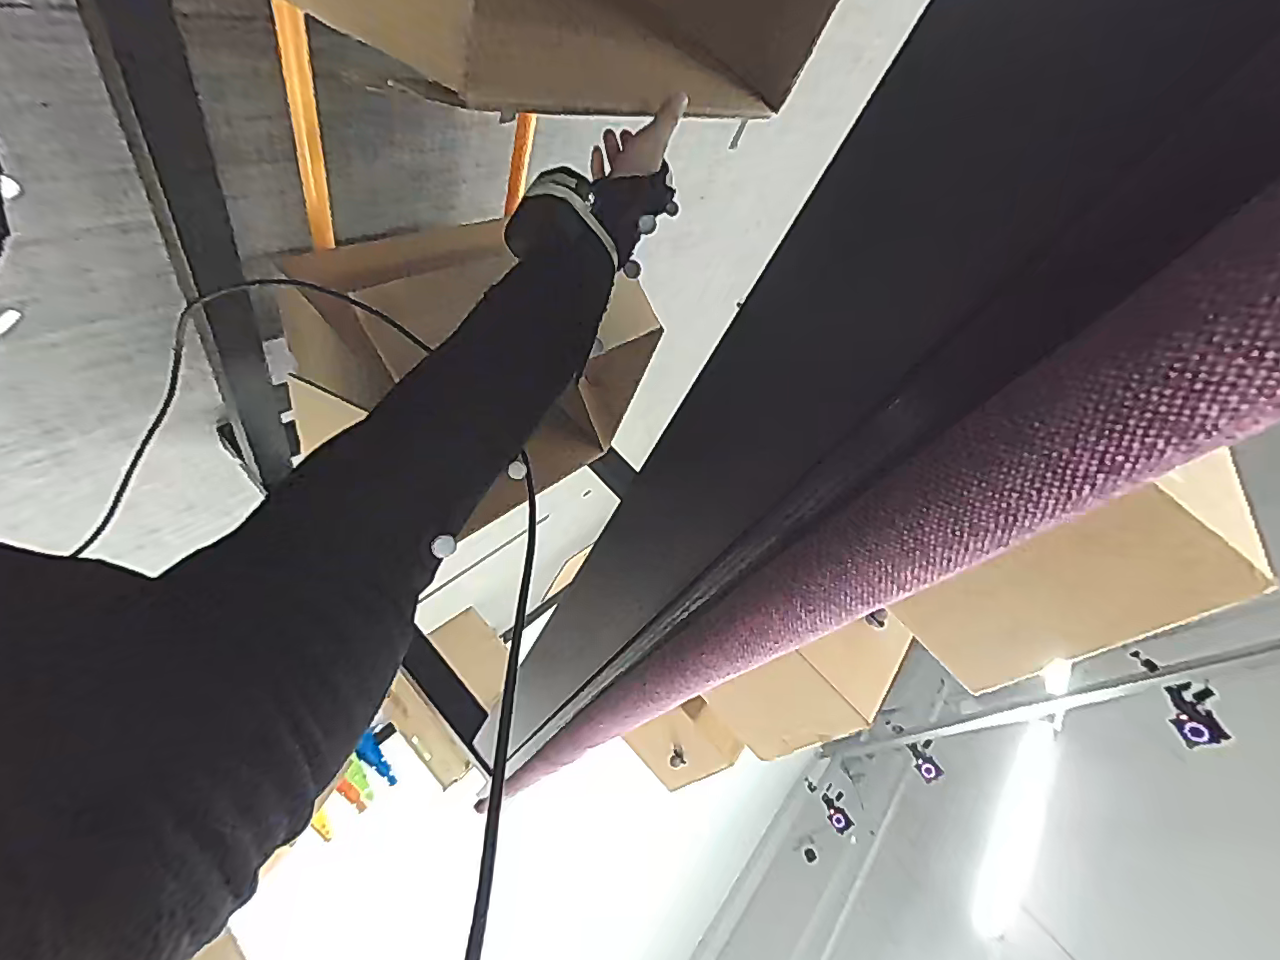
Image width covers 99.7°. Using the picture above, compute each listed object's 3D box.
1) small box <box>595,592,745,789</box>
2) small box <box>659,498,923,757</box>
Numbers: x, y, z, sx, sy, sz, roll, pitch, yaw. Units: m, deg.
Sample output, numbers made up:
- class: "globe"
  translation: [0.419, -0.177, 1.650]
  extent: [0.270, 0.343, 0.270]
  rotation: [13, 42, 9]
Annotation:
- class: "small box"
  translation: [0.062, 0.284, 0.750]
  extent: [0.168, 0.176, 0.179]
  rotation: [-35, 165, -43]
- class: "small box"
  translation: [0.153, 0.149, 0.573]
  extent: [0.179, 0.176, 0.168]
  rotation: [-35, 165, -41]
